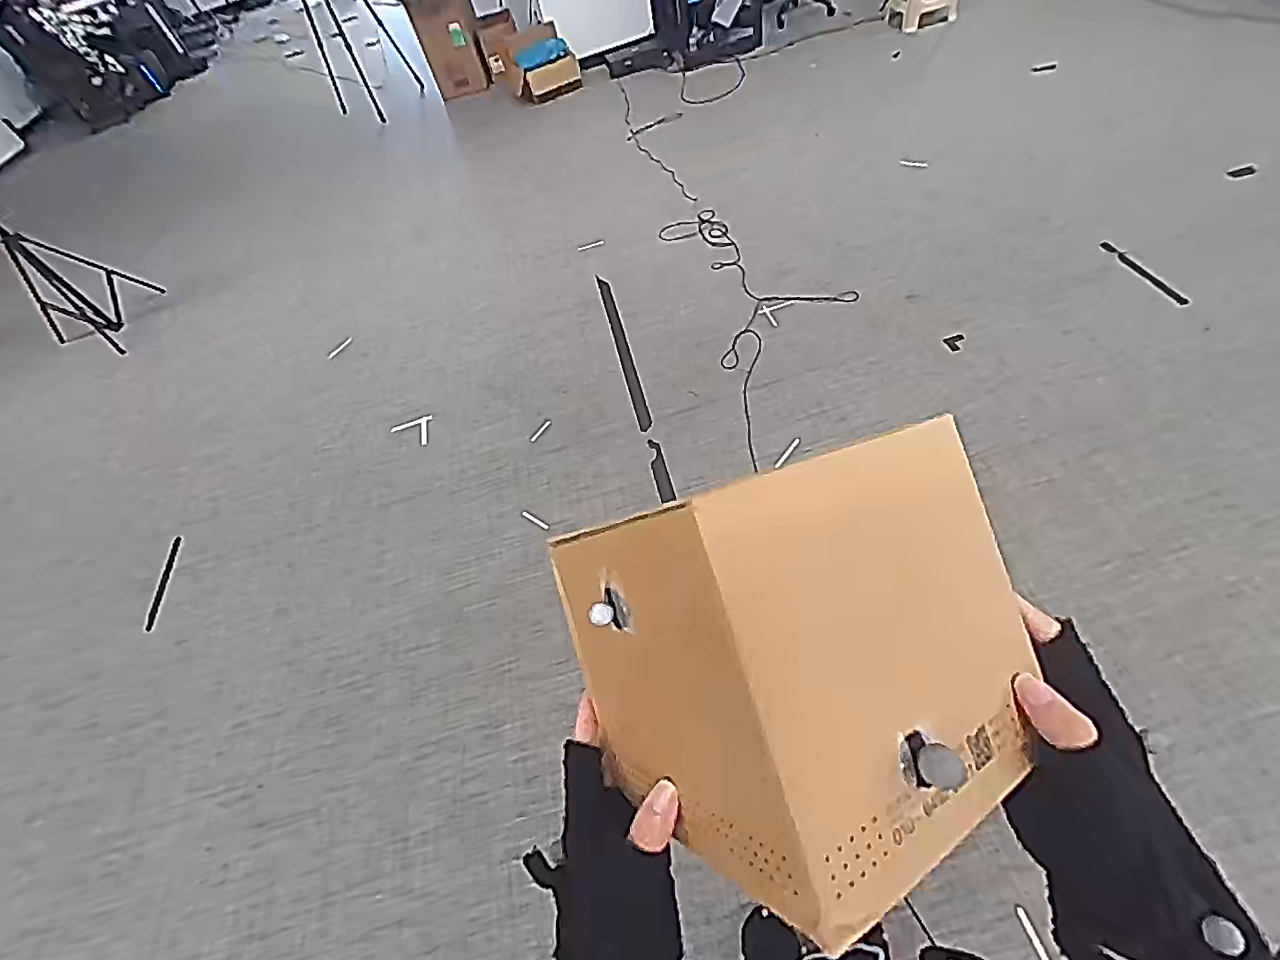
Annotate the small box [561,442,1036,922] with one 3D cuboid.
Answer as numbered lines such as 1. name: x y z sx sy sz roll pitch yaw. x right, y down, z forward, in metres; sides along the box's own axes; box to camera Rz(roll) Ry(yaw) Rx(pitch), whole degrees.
1. small box: 0.075 0.094 0.313 0.168 0.179 0.176 -16 87 -28
